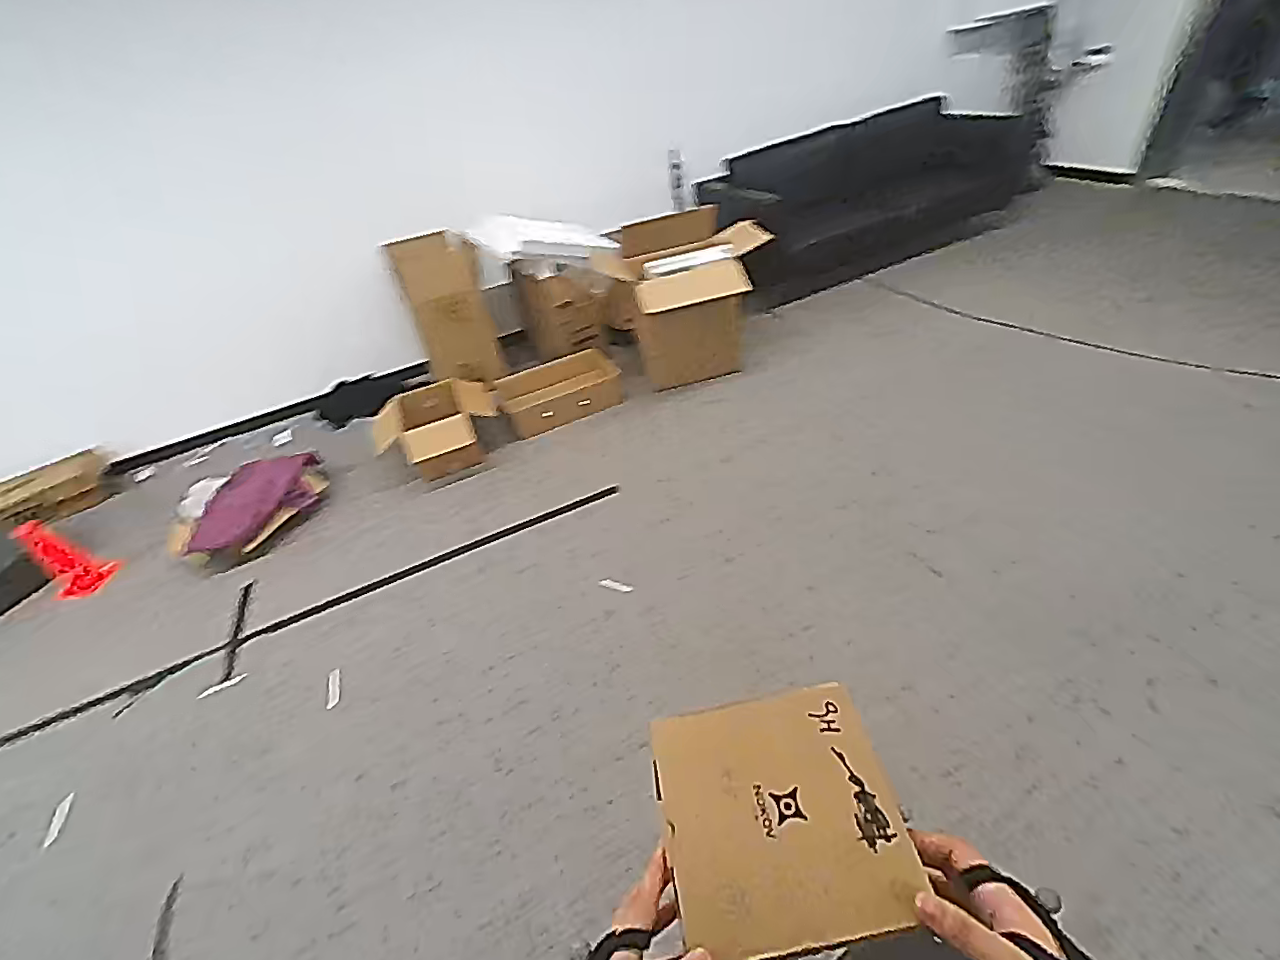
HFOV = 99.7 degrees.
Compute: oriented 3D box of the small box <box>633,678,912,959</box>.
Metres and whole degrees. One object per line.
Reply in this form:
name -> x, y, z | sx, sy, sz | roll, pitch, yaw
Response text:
small box -> 0.101, 0.303, 0.476 | 0.179, 0.176, 0.168 | -12, 46, -1
